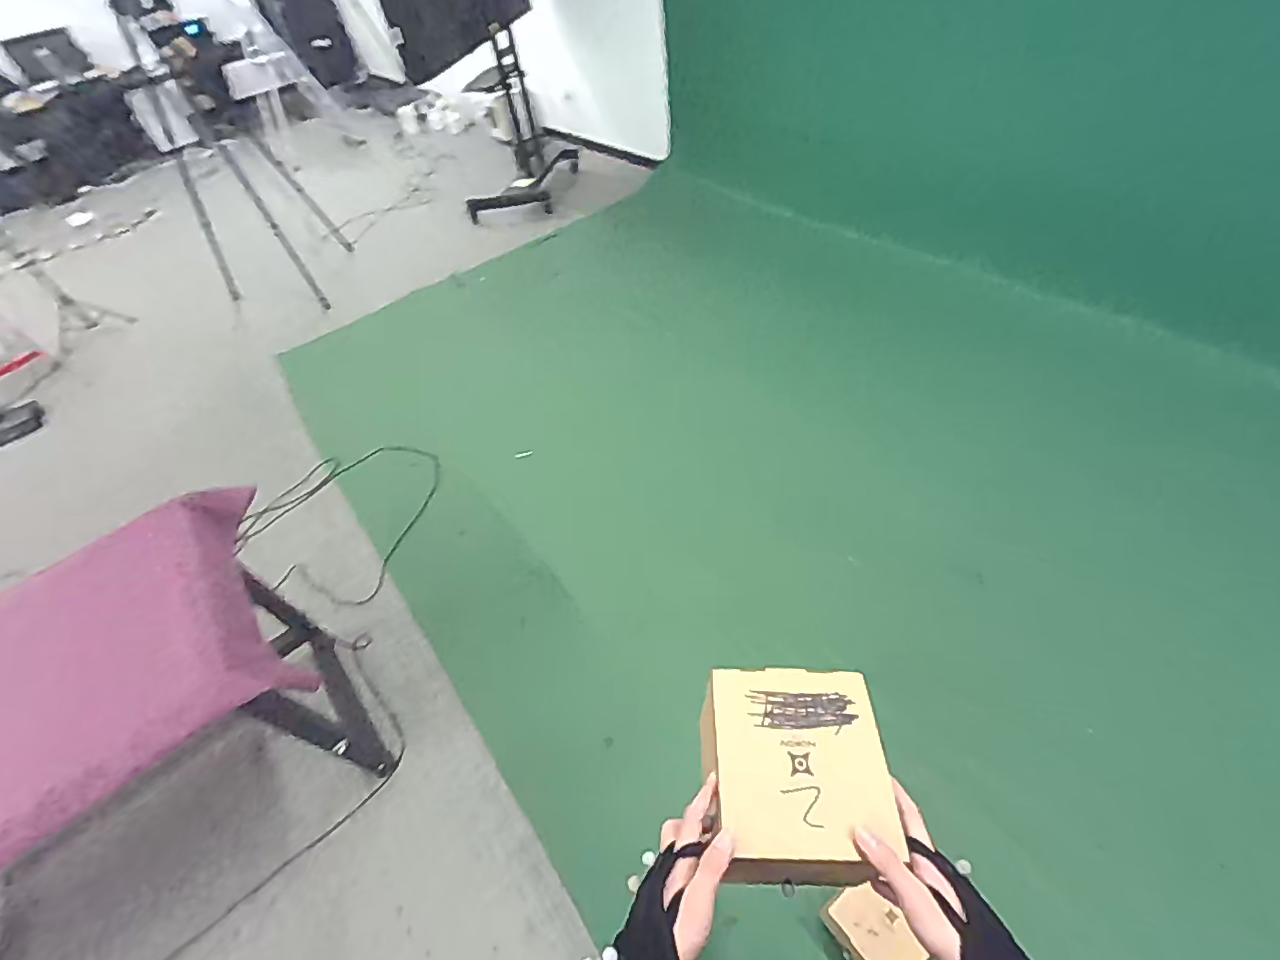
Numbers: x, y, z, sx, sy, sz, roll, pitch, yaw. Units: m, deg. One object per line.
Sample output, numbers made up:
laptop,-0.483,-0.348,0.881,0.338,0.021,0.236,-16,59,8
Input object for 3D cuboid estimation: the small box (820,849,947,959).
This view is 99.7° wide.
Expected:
small box,0.507,0.934,1.154,0.179,0.176,0.168,-33,52,-18
